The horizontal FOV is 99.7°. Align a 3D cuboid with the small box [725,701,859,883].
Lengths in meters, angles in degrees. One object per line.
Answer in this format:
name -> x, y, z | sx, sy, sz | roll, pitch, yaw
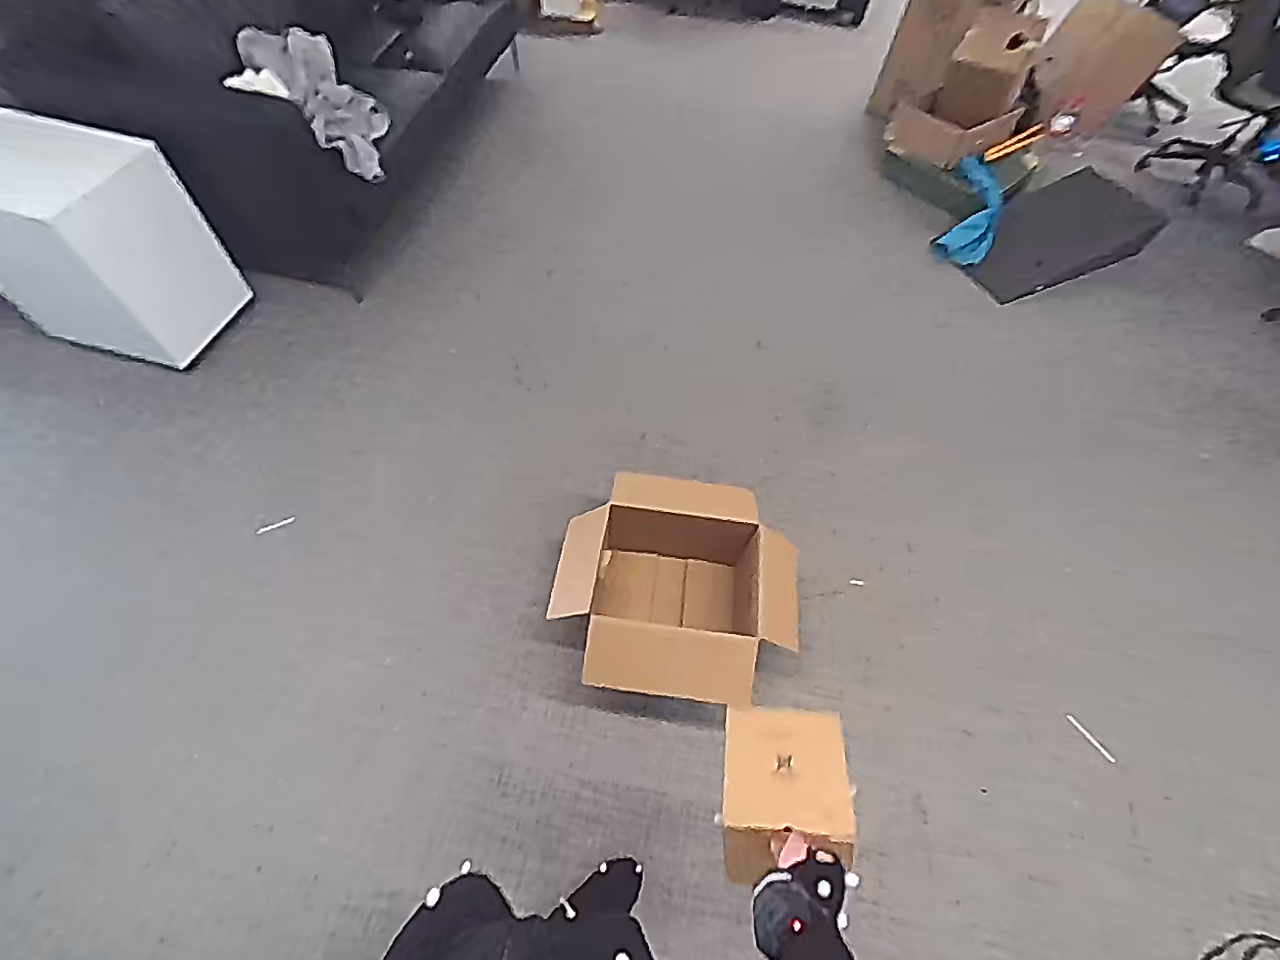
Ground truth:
small box -> 0.212, 0.452, 0.786 | 0.168, 0.176, 0.179 | -1, 35, 11
